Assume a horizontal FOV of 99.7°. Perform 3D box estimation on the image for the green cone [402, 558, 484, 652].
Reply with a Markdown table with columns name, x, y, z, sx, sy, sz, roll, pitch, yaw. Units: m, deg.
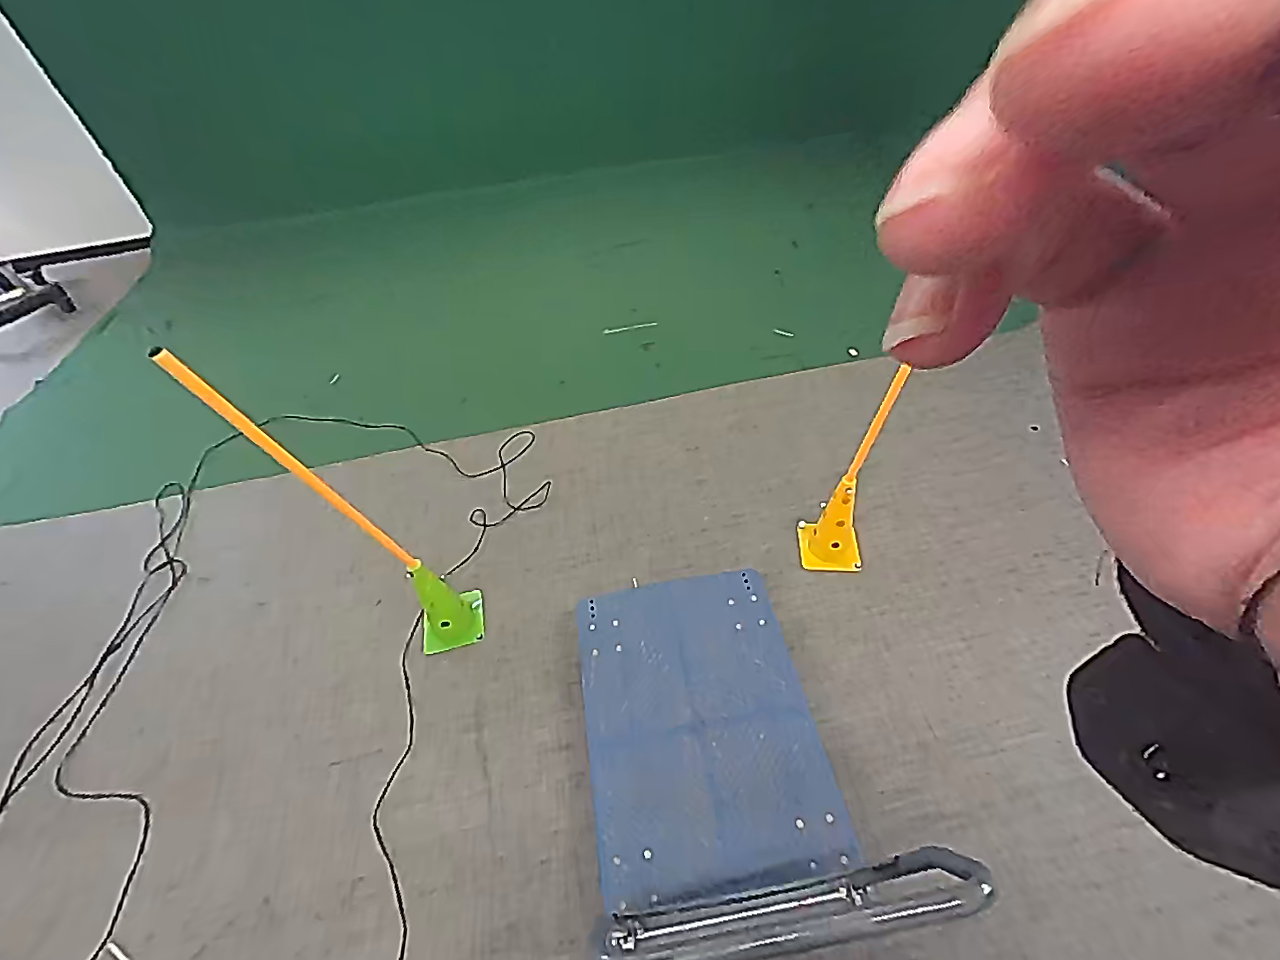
| name | x | y | z | sx | sy | sz | roll | pitch | yaw |
| --- | --- | --- | --- | --- | --- | --- | --- | --- | --- |
| green cone | -0.654 | 0.360 | 1.718 | 0.202 | 0.368 | 0.200 | -16 | 48 | -6 |
